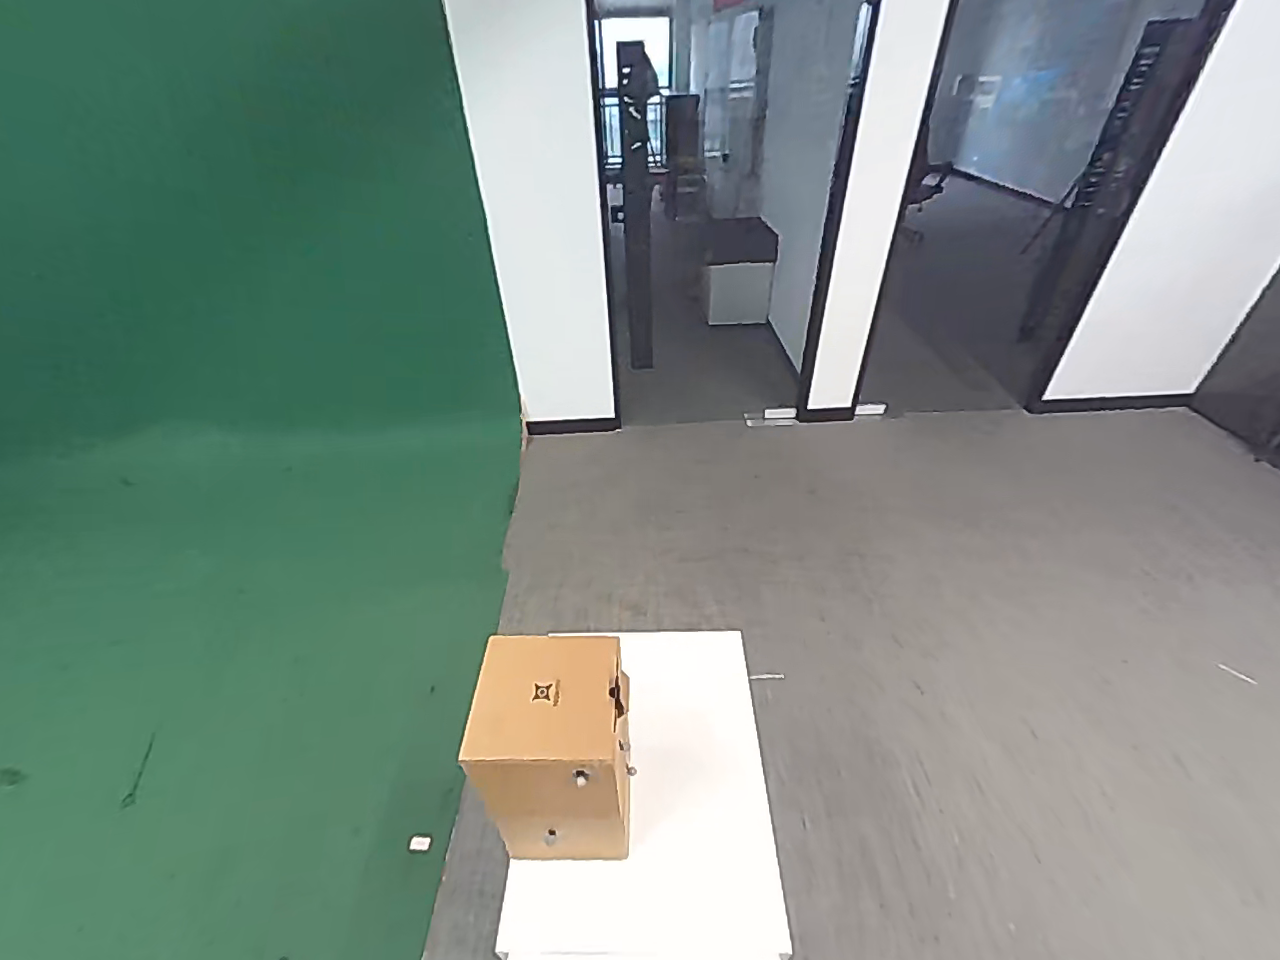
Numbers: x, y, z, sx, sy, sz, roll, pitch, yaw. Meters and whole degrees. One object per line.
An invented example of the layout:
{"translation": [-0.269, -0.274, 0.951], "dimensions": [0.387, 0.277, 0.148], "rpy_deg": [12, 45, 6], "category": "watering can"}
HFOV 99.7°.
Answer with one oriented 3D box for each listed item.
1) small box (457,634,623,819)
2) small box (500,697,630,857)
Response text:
{"translation": [-0.115, 0.320, 0.704], "dimensions": [0.179, 0.176, 0.168], "rpy_deg": [0, 38, 0], "category": "small box"}
{"translation": [-0.107, 0.444, 0.810], "dimensions": [0.179, 0.176, 0.168], "rpy_deg": [-1, 39, 1], "category": "small box"}
